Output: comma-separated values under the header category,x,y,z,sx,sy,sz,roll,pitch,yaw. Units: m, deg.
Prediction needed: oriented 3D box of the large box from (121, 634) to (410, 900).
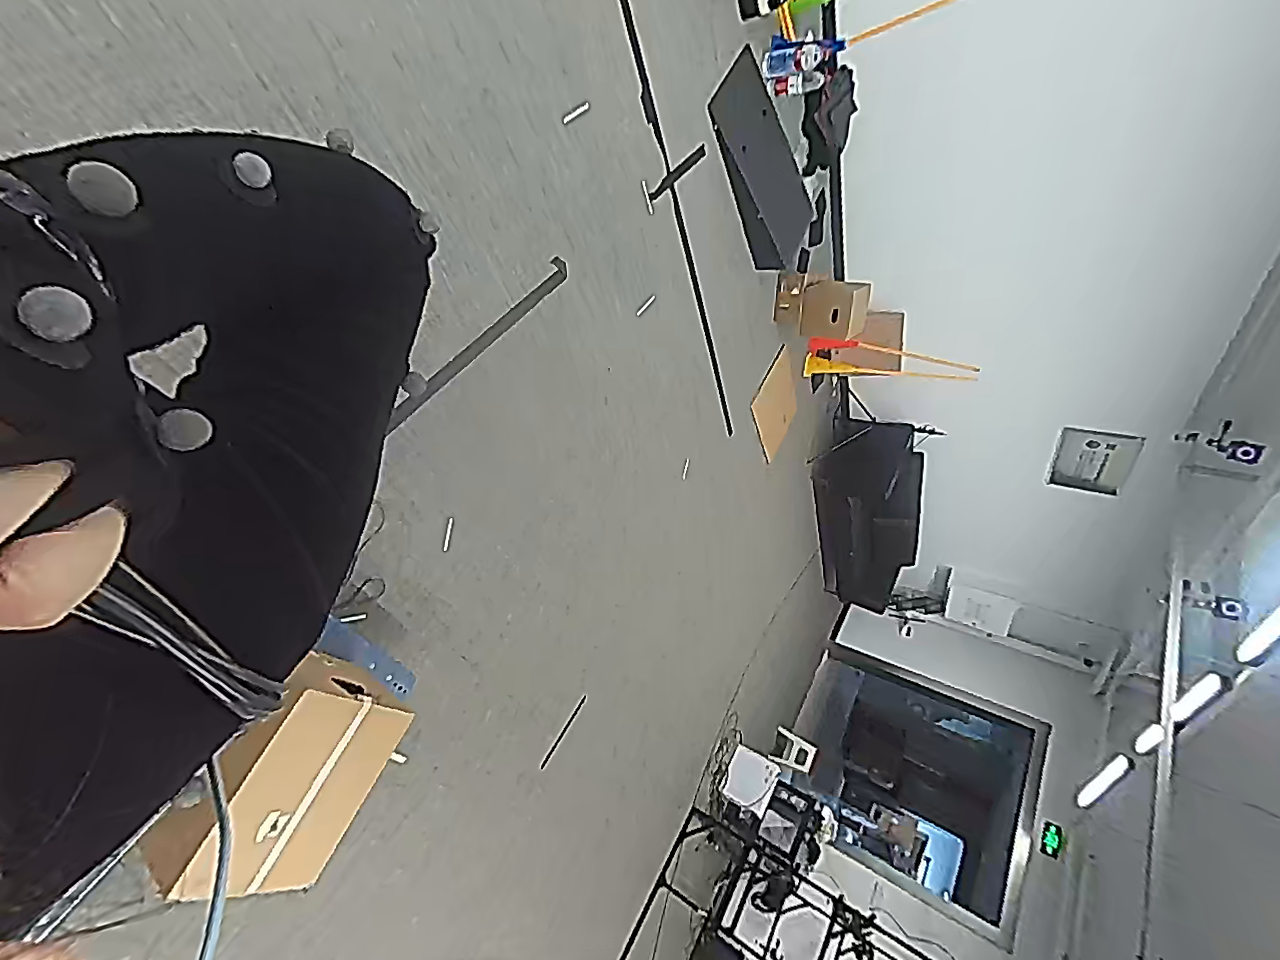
category,x,y,z,sx,sy,sz,roll,pitch,yaw
large box,-0.822,0.621,1.221,0.408,0.320,0.320,-61,144,-18
